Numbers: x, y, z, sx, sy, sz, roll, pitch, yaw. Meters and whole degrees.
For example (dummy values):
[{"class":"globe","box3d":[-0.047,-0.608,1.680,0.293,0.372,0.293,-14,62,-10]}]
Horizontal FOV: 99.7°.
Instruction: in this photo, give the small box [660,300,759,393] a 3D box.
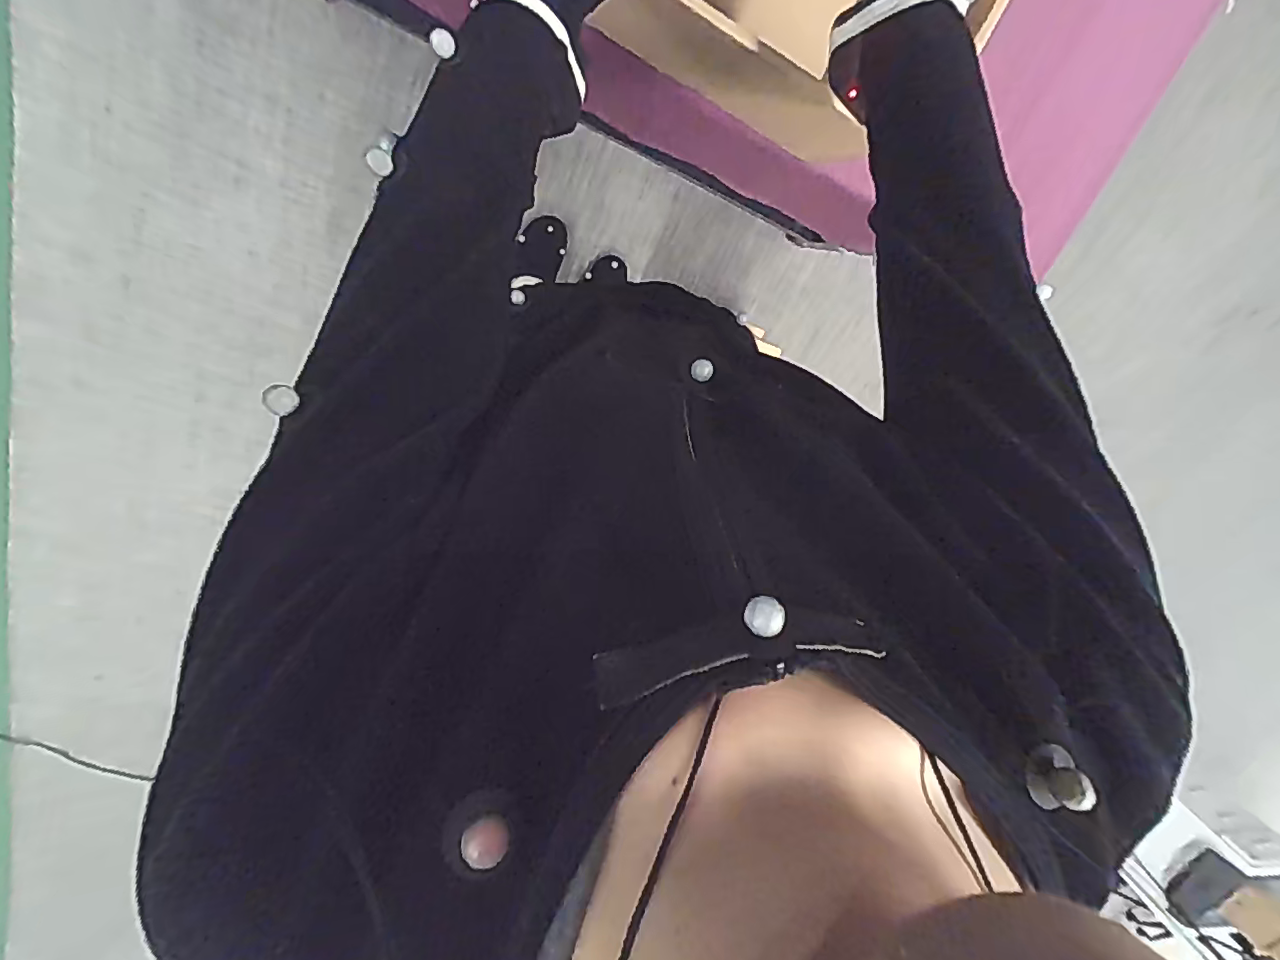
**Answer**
[{"class":"small box","box3d":[0.169,-0.347,1.380,0.179,0.176,0.168,17,111,-17]}]
